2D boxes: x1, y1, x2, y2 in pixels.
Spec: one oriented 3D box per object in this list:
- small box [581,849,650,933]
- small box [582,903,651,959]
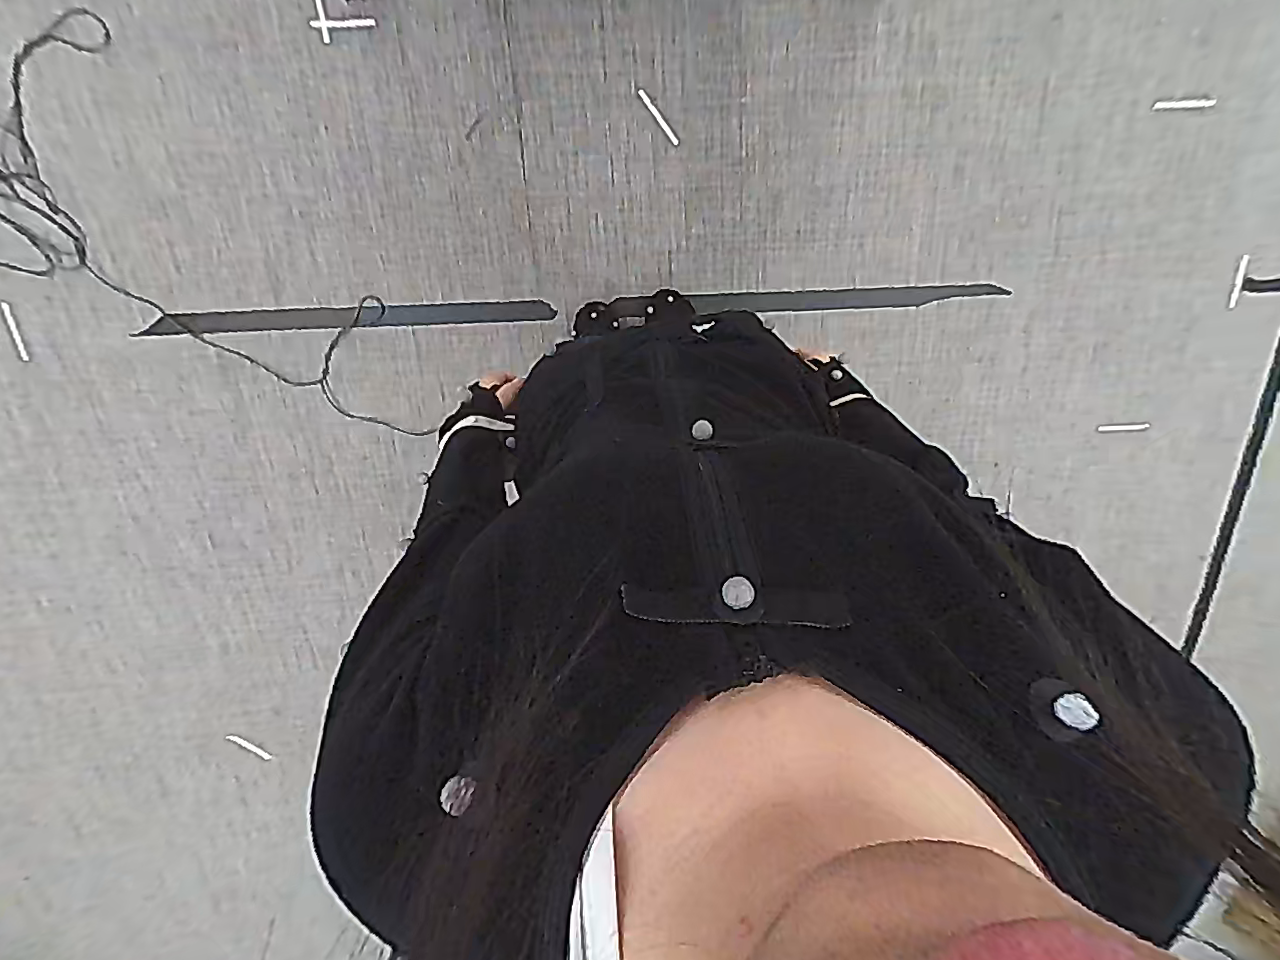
[{"bbox_3d":[-0.068,1.169,1.510,0.179,0.176,0.168,-5,107,-1],"label":"small box"},{"bbox_3d":[-0.055,1.211,1.354,0.168,0.176,0.179,-4,107,-2],"label":"small box"}]
